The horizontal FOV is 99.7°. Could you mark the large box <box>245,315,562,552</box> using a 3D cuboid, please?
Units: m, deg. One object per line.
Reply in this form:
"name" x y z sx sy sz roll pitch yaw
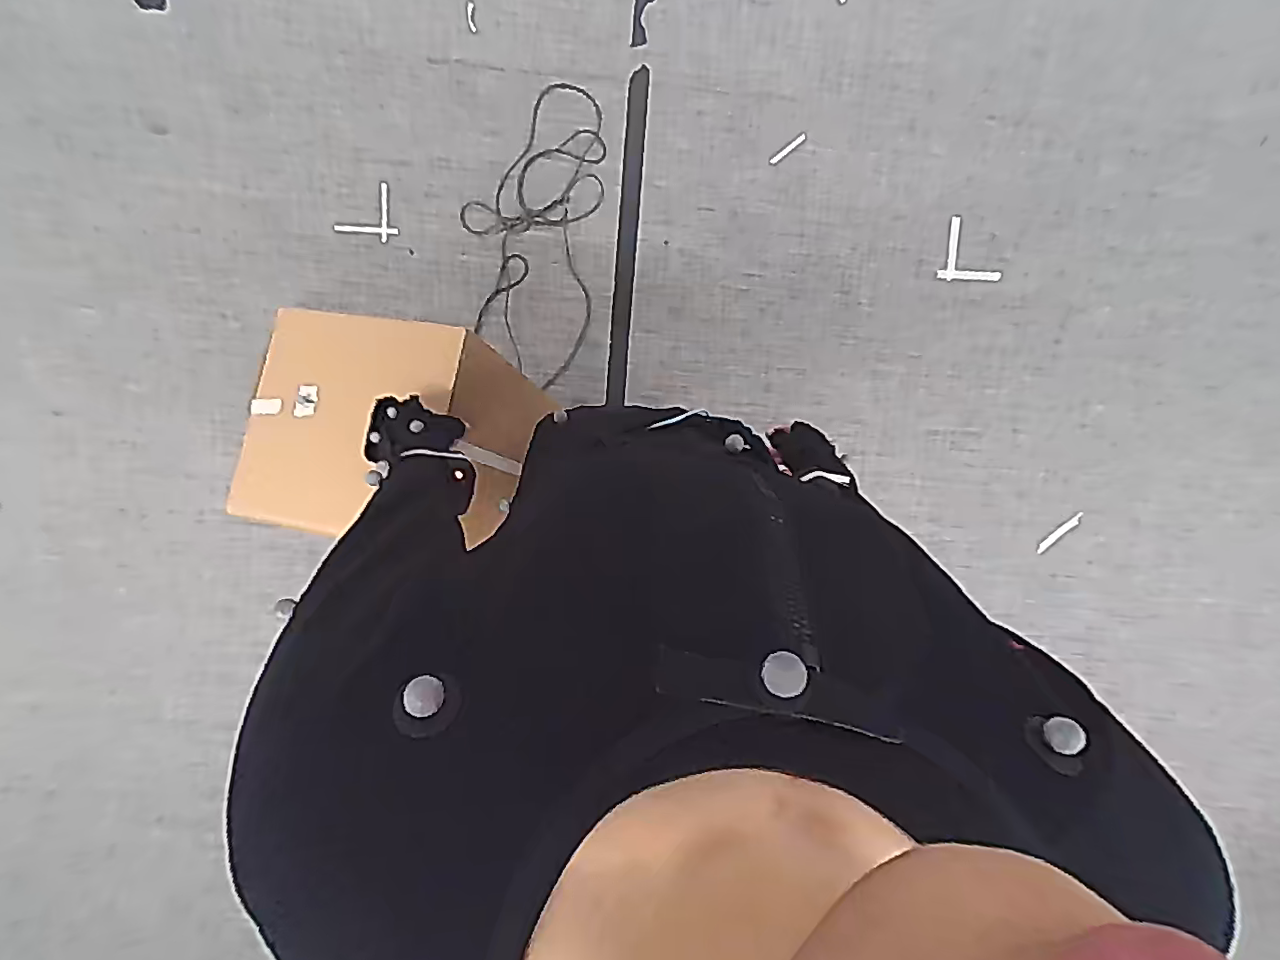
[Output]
"large box" -0.371 -0.057 0.952 0.320 0.408 0.320 11 85 11
